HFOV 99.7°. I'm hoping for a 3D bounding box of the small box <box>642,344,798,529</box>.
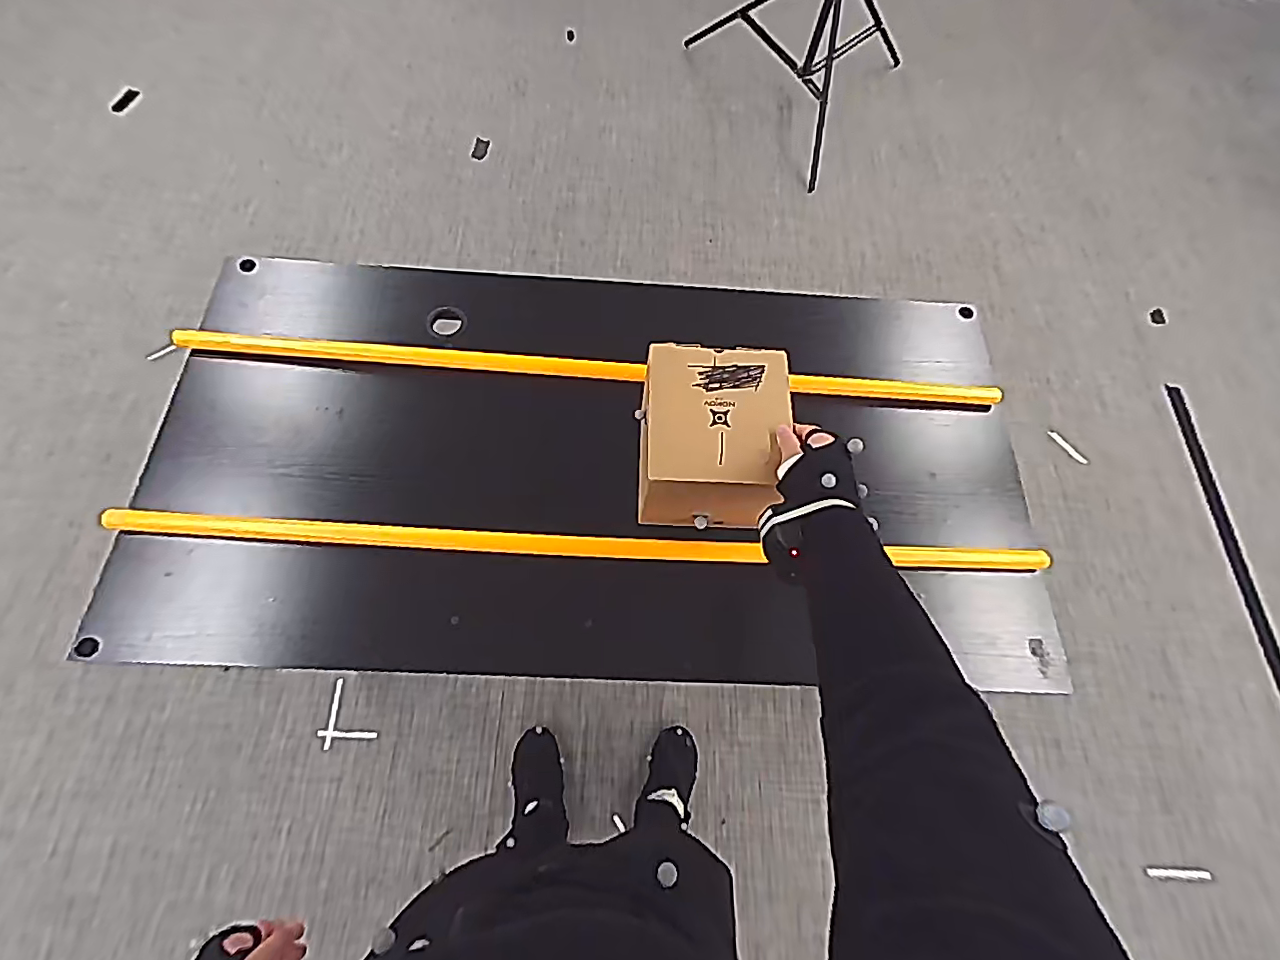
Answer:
[{"bbox_3d":[0.090,-0.048,0.690,0.168,0.176,0.179,3,69,-2],"label":"small box"}]
